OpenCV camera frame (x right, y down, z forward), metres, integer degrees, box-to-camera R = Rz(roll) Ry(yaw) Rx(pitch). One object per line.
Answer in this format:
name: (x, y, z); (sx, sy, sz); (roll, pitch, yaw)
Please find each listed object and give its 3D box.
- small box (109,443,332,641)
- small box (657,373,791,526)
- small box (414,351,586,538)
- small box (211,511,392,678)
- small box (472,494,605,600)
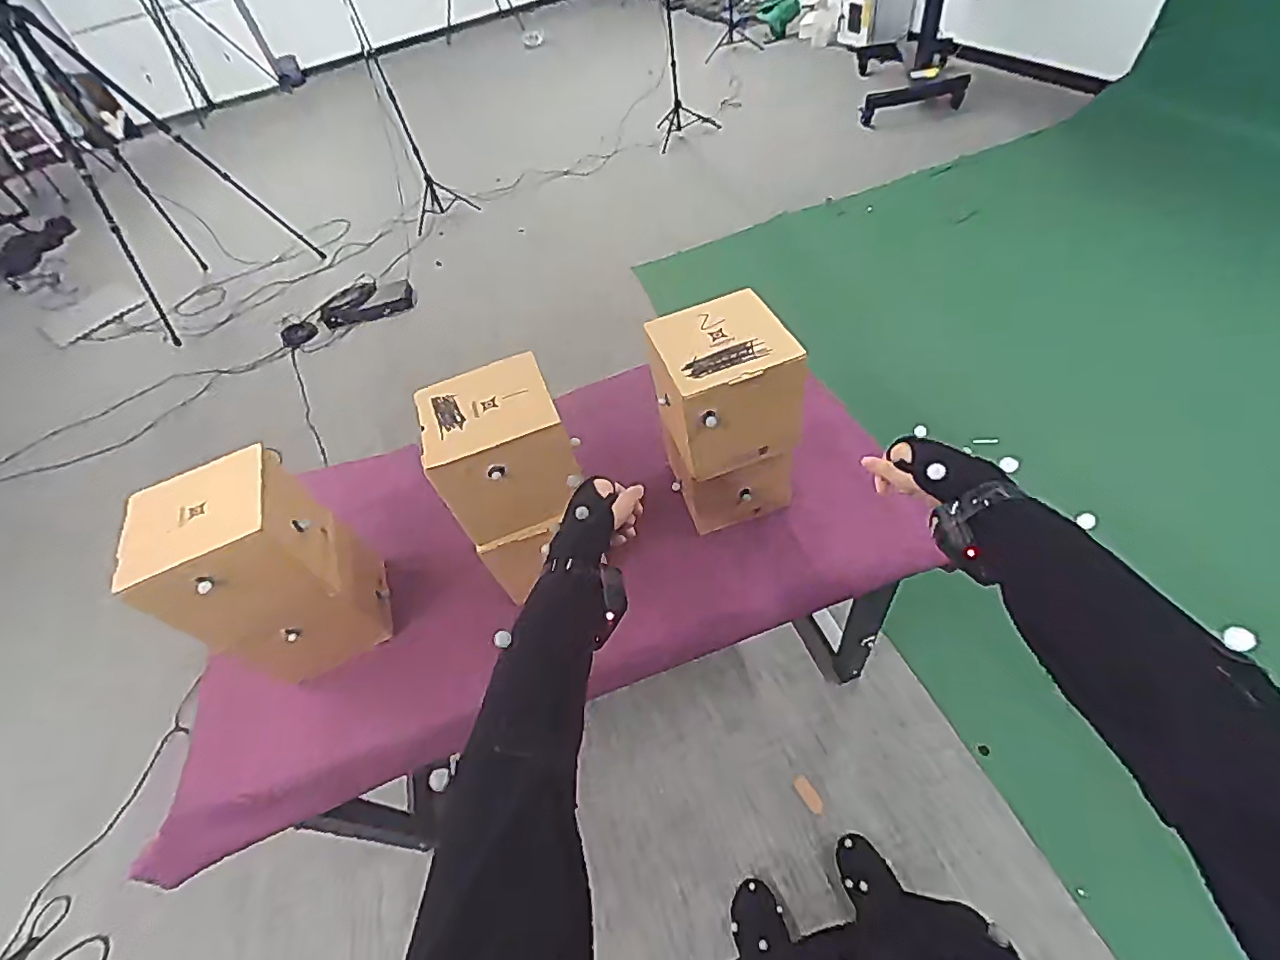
small box: (-0.544, 0.087, 0.733); (0.179, 0.176, 0.168); (-26, 52, -8)
small box: (0.140, -0.043, 0.905); (0.168, 0.176, 0.179); (-18, 50, -2)
small box: (-0.193, -0.045, 0.763); (0.179, 0.176, 0.168); (-21, 50, -6)
small box: (-0.525, 0.186, 0.860); (0.179, 0.176, 0.168); (-24, 51, -8)
small box: (-0.168, 0.065, 0.882); (0.168, 0.176, 0.179); (-19, 50, -3)
